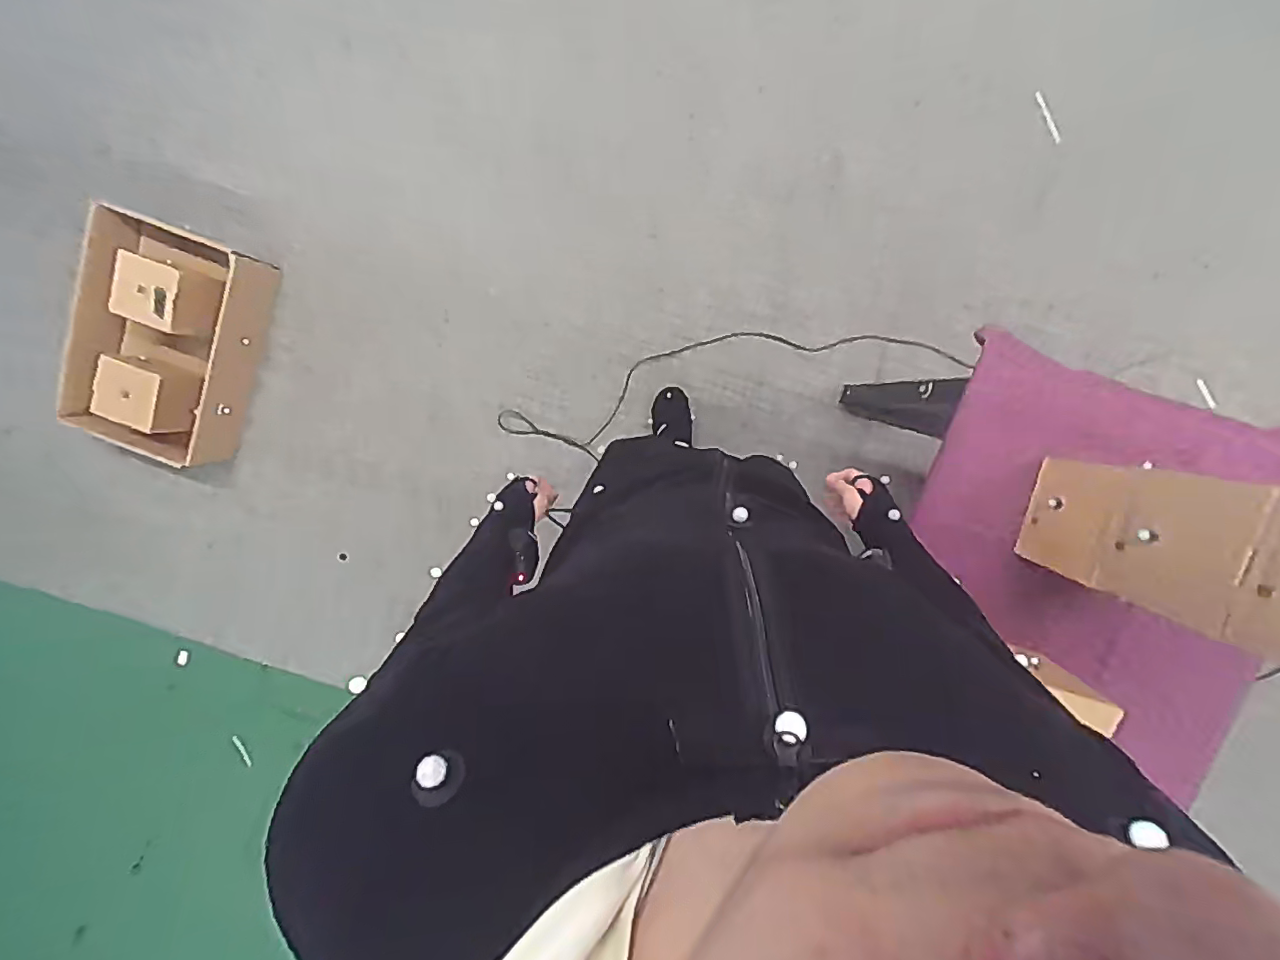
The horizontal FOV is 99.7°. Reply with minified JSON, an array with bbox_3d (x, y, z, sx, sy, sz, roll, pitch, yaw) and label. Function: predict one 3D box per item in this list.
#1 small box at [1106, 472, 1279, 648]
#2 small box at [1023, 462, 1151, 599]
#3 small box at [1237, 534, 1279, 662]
[{"bbox_3d":[0.701,0.092,0.614,0.179,0.176,0.168,10,99,2],"label":"small box"},{"bbox_3d":[0.709,0.075,0.777,0.179,0.176,0.168,11,99,2],"label":"small box"},{"bbox_3d":[0.694,0.117,0.452,0.179,0.176,0.168,12,99,1],"label":"small box"}]
